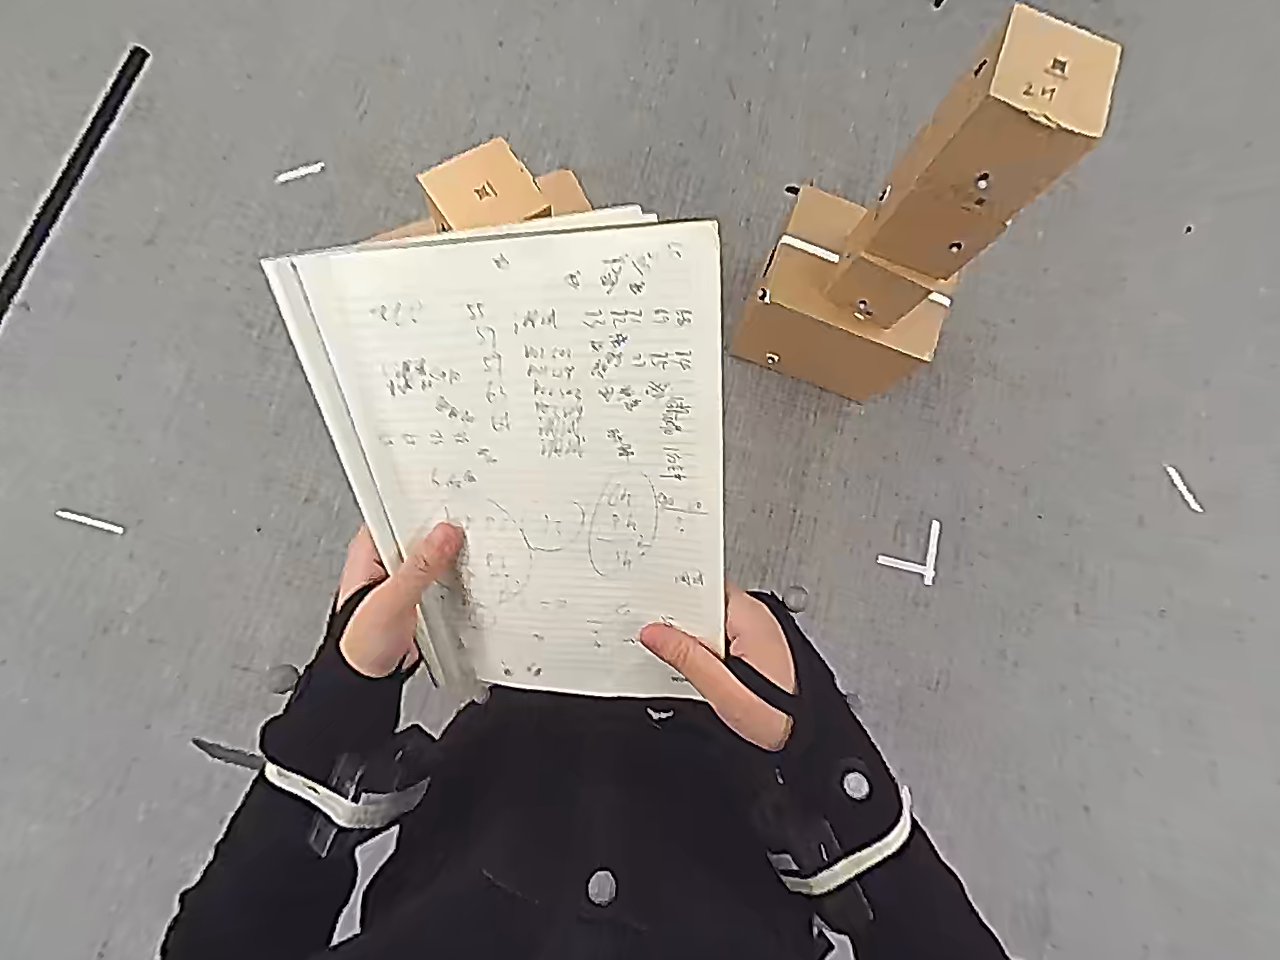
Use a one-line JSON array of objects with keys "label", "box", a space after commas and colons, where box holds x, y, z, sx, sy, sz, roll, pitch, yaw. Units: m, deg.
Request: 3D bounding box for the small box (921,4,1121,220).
[{"label": "small box", "box": [0.556, -0.537, 0.810, 0.168, 0.176, 0.179, 21, 78, -1]}]

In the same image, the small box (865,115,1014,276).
[{"label": "small box", "box": [0.539, -0.495, 0.969, 0.179, 0.176, 0.168, 19, 78, 0]}]

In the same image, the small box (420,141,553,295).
[{"label": "small box", "box": [-0.280, -0.488, 1.032, 0.179, 0.176, 0.168, -34, 85, -12]}]

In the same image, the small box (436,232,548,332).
[{"label": "small box", "box": [-0.314, -0.455, 1.188, 0.179, 0.176, 0.168, -27, 84, -11]}]

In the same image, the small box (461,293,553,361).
[{"label": "small box", "box": [-0.332, -0.426, 1.350, 0.179, 0.176, 0.168, -28, 84, -11]}]
